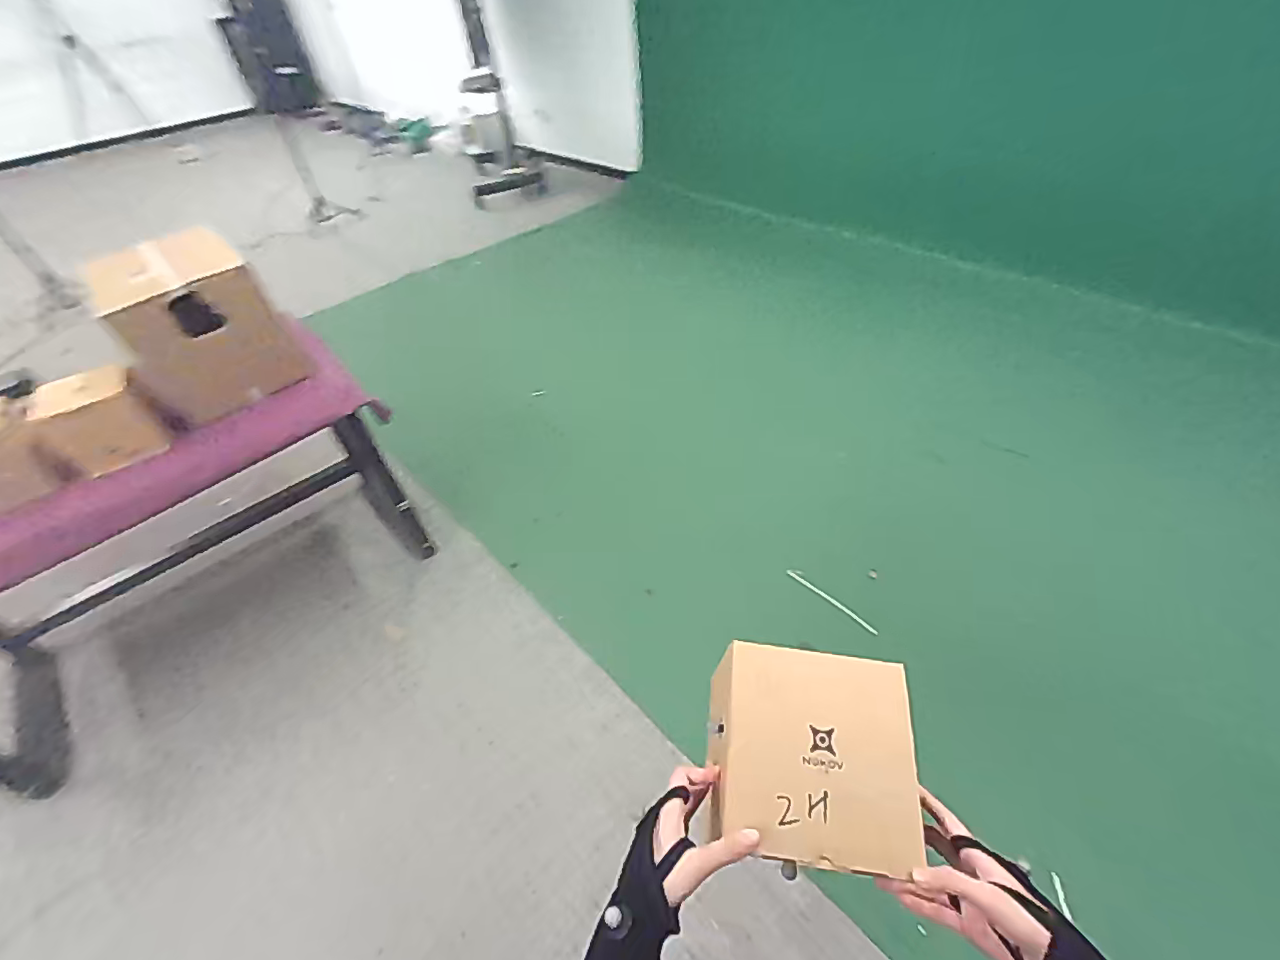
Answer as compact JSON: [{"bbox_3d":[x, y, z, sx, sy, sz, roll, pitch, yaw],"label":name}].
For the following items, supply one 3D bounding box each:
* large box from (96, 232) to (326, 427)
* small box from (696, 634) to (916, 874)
[{"bbox_3d":[-1.115,-0.406,1.426,0.320,0.320,0.408,-37,53,-24],"label":"large box"},{"bbox_3d":[0.150,0.275,0.547,0.168,0.176,0.179,6,58,4],"label":"small box"}]
